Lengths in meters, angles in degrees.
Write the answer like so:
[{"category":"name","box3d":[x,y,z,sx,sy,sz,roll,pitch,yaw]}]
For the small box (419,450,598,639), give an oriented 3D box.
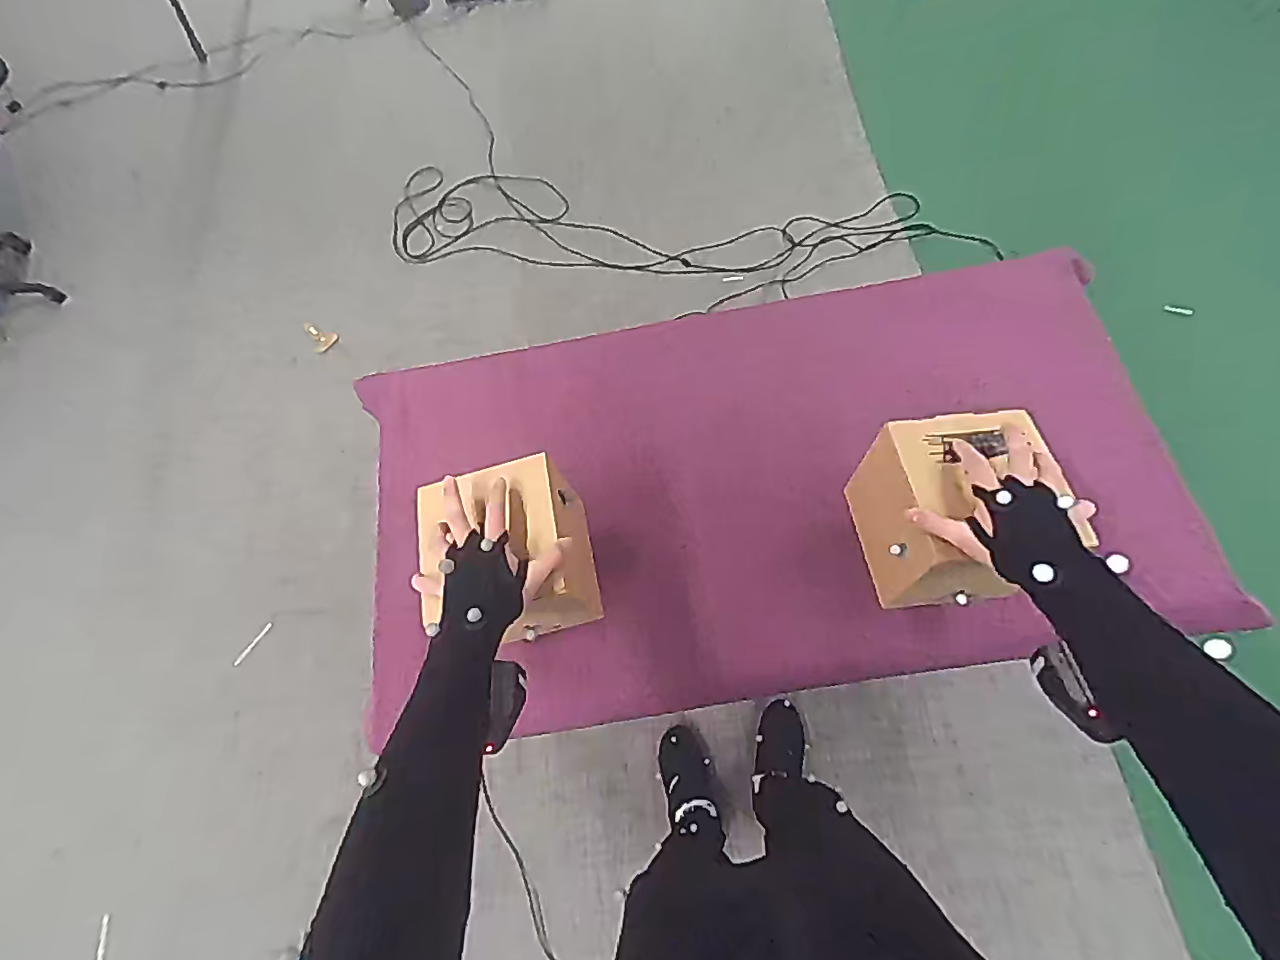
[{"category":"small box","box3d":[-0.162,0.090,0.693,0.168,0.176,0.179,-15,64,5]}]
